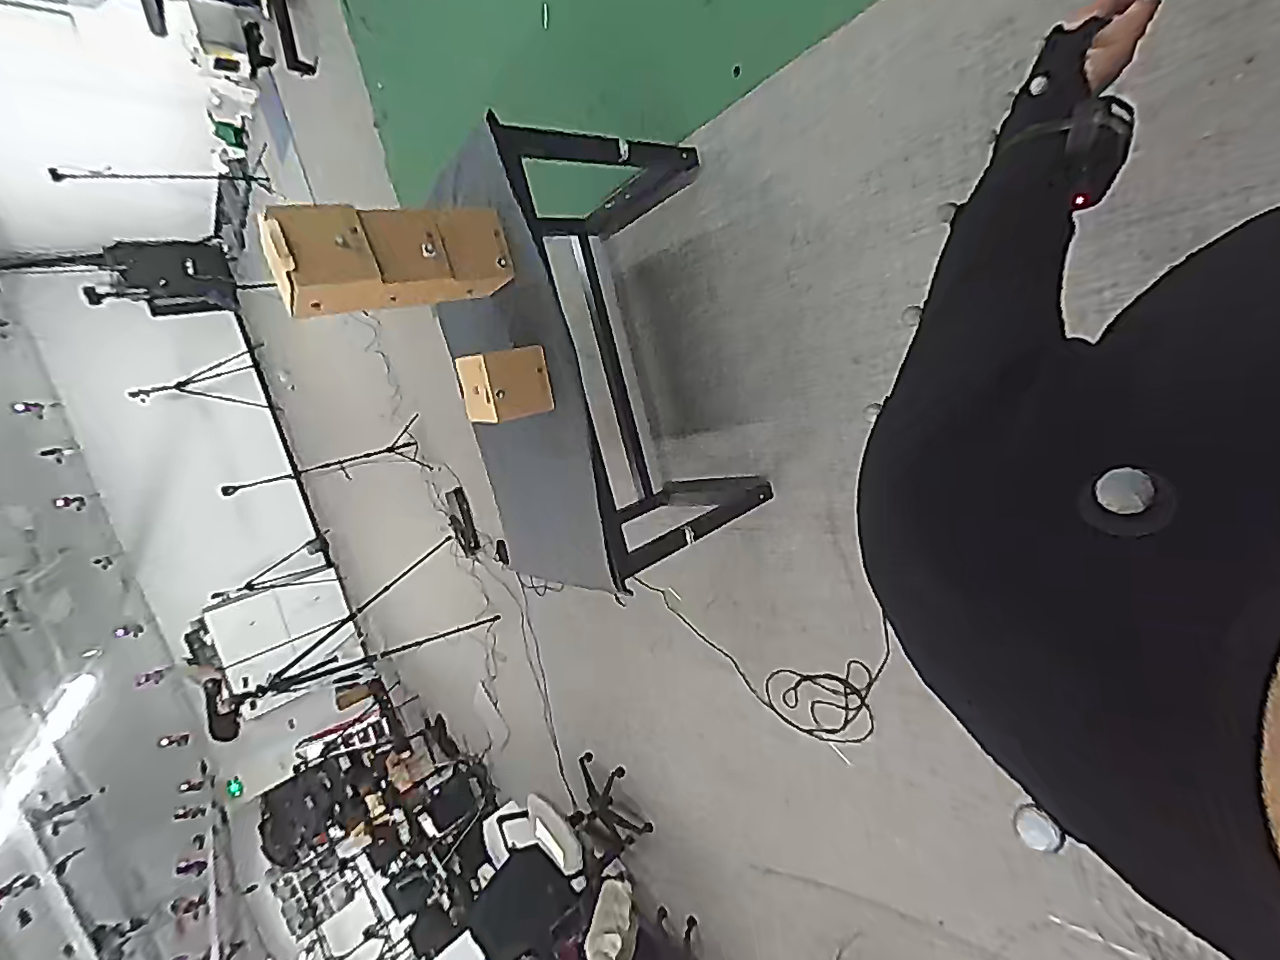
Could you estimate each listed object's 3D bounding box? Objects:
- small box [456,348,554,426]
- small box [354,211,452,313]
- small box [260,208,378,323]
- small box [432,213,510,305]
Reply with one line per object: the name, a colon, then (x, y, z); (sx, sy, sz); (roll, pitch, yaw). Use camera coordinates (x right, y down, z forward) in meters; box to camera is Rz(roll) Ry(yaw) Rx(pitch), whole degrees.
small box: (-0.345, -0.241, 1.392); (0.179, 0.176, 0.168); (10, 115, 49)
small box: (-0.561, -0.502, 1.253); (0.179, 0.176, 0.168); (-9, 102, 52)
small box: (-0.678, -0.452, 1.147); (0.179, 0.176, 0.168); (-14, 99, 53)
small box: (-0.443, -0.553, 1.353); (0.179, 0.176, 0.168); (-2, 106, 53)
